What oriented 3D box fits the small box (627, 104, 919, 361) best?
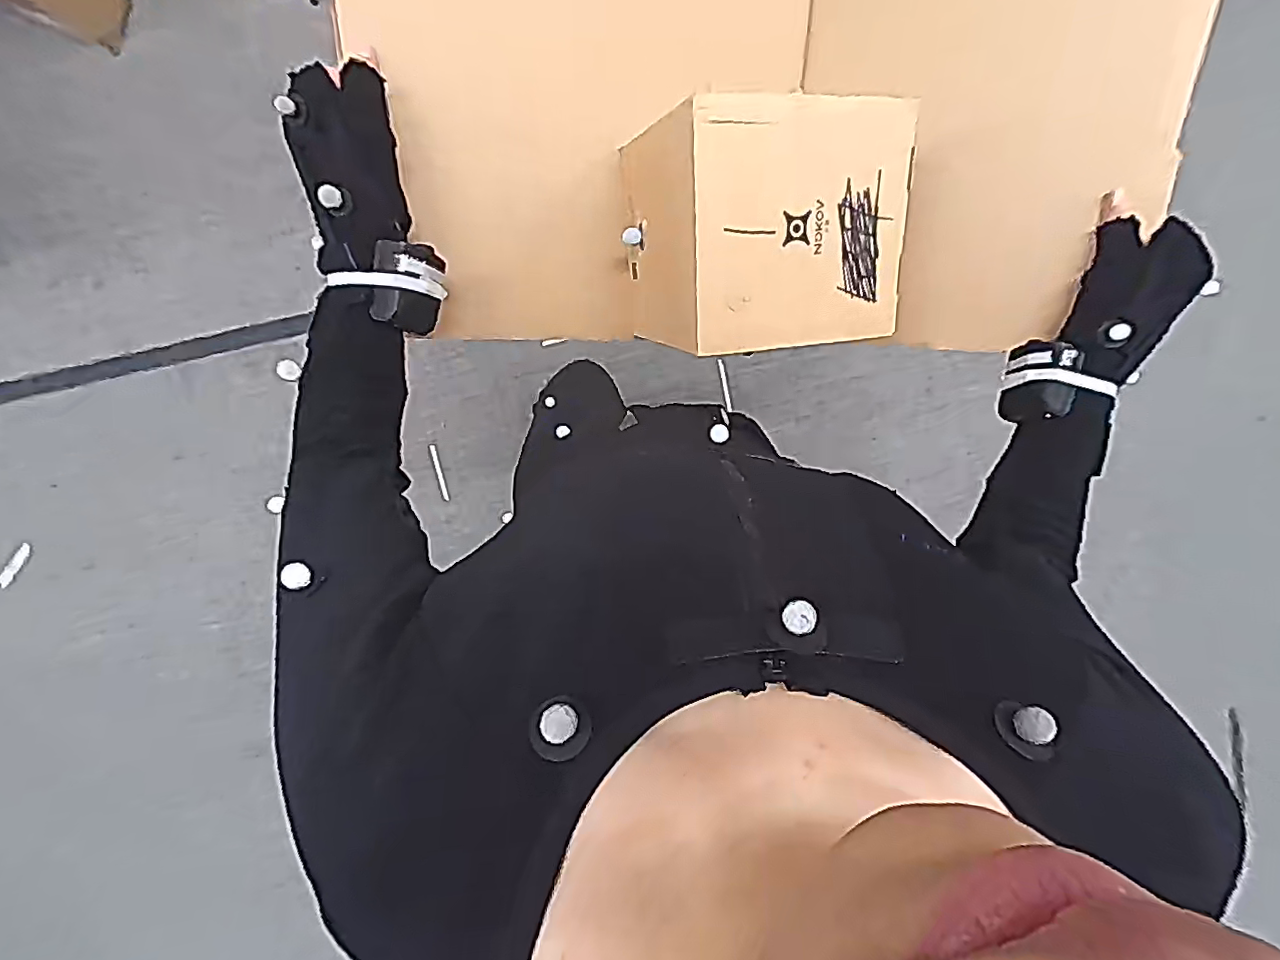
[{"bbox_3d":[0.098,-0.202,0.466,0.179,0.176,0.168,-9,112,-14],"label":"small box"}]
